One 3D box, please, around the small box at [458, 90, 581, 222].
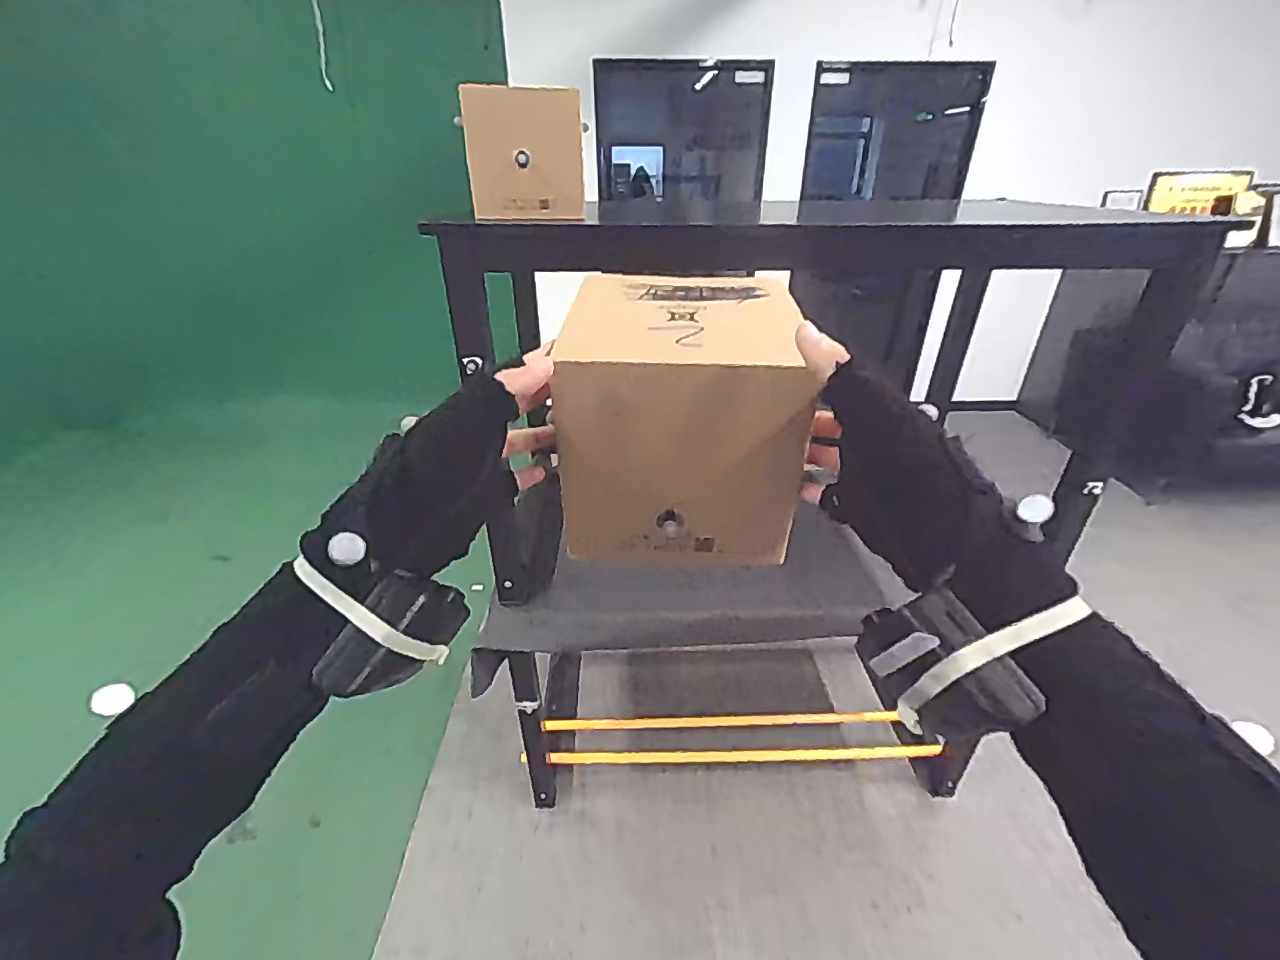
[{"bbox_3d":[-0.183,-0.511,0.865,0.168,0.176,0.179,-3,29,-8],"label":"small box"}]
